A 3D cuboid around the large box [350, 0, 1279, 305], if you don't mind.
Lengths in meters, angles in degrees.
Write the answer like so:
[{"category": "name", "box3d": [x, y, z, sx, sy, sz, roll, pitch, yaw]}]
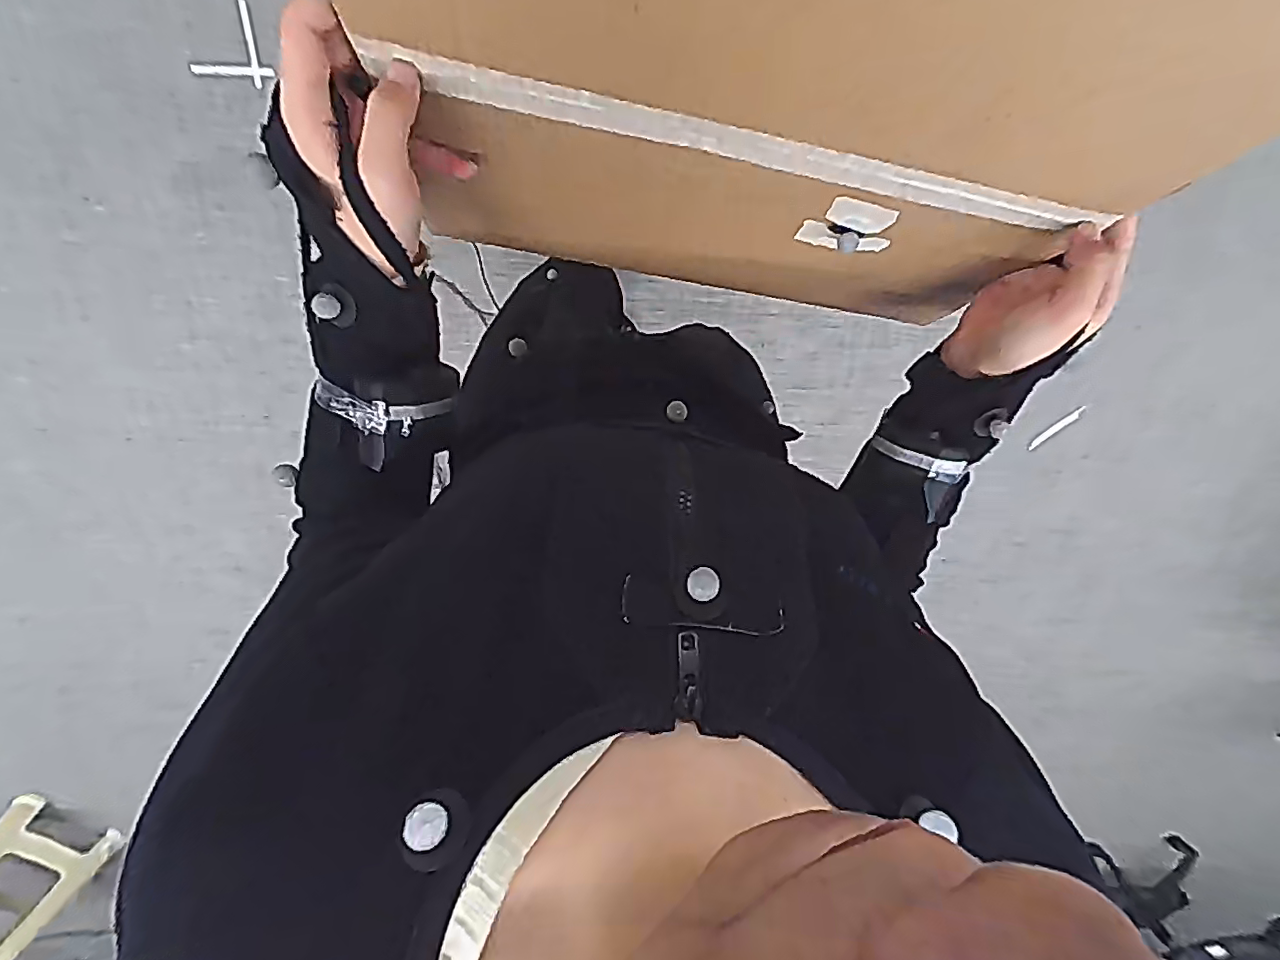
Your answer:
[{"category": "large box", "box3d": [0.078, -0.329, 0.295, 0.408, 0.320, 0.320, 6, 85, -9]}]
